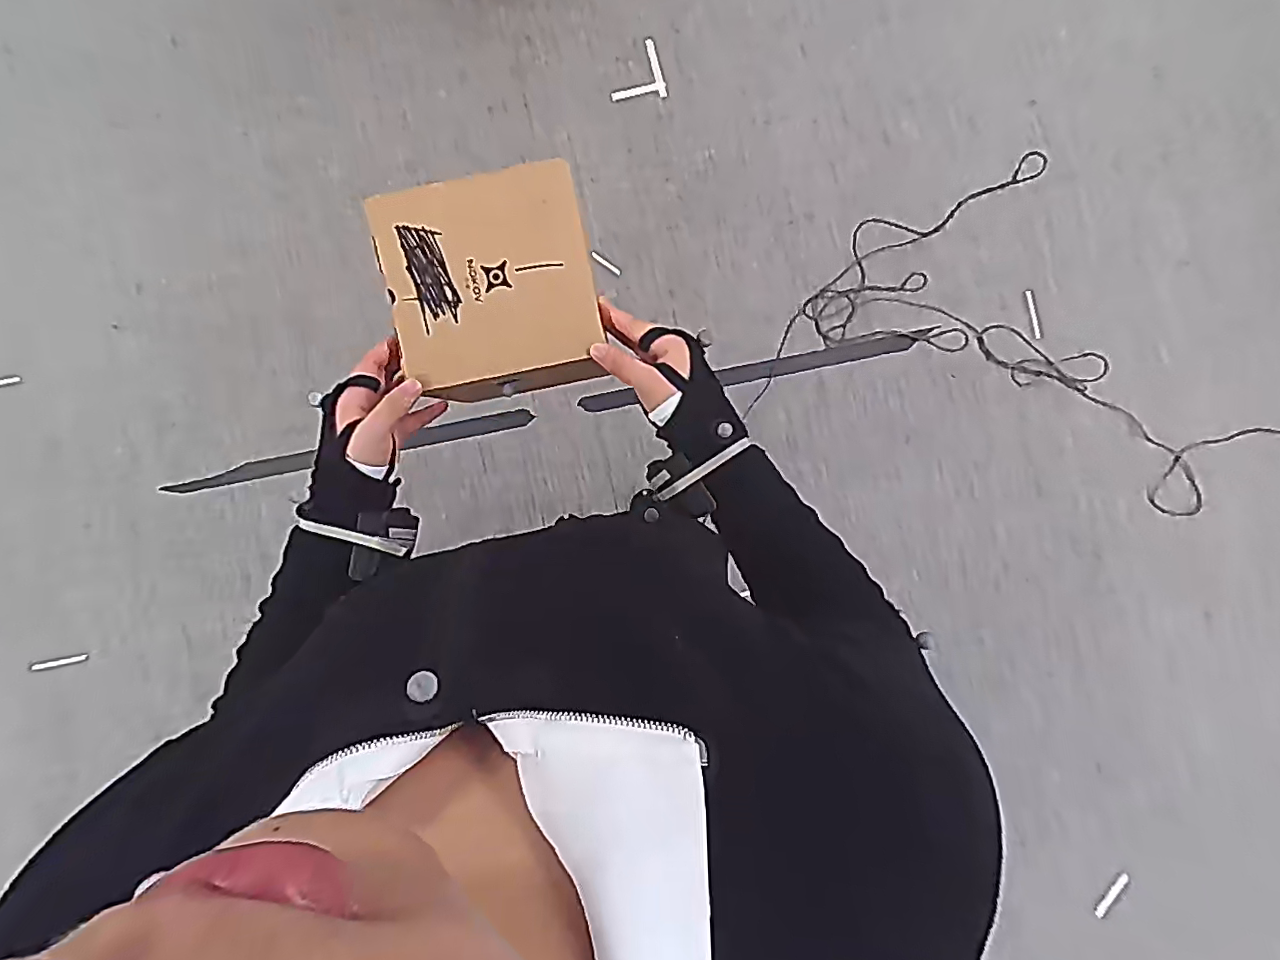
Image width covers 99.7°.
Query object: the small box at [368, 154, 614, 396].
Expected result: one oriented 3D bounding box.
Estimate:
[{"bbox_3d":[-0.128,-0.181,0.533,0.179,0.176,0.168,-11,95,0],"label":"small box"}]
